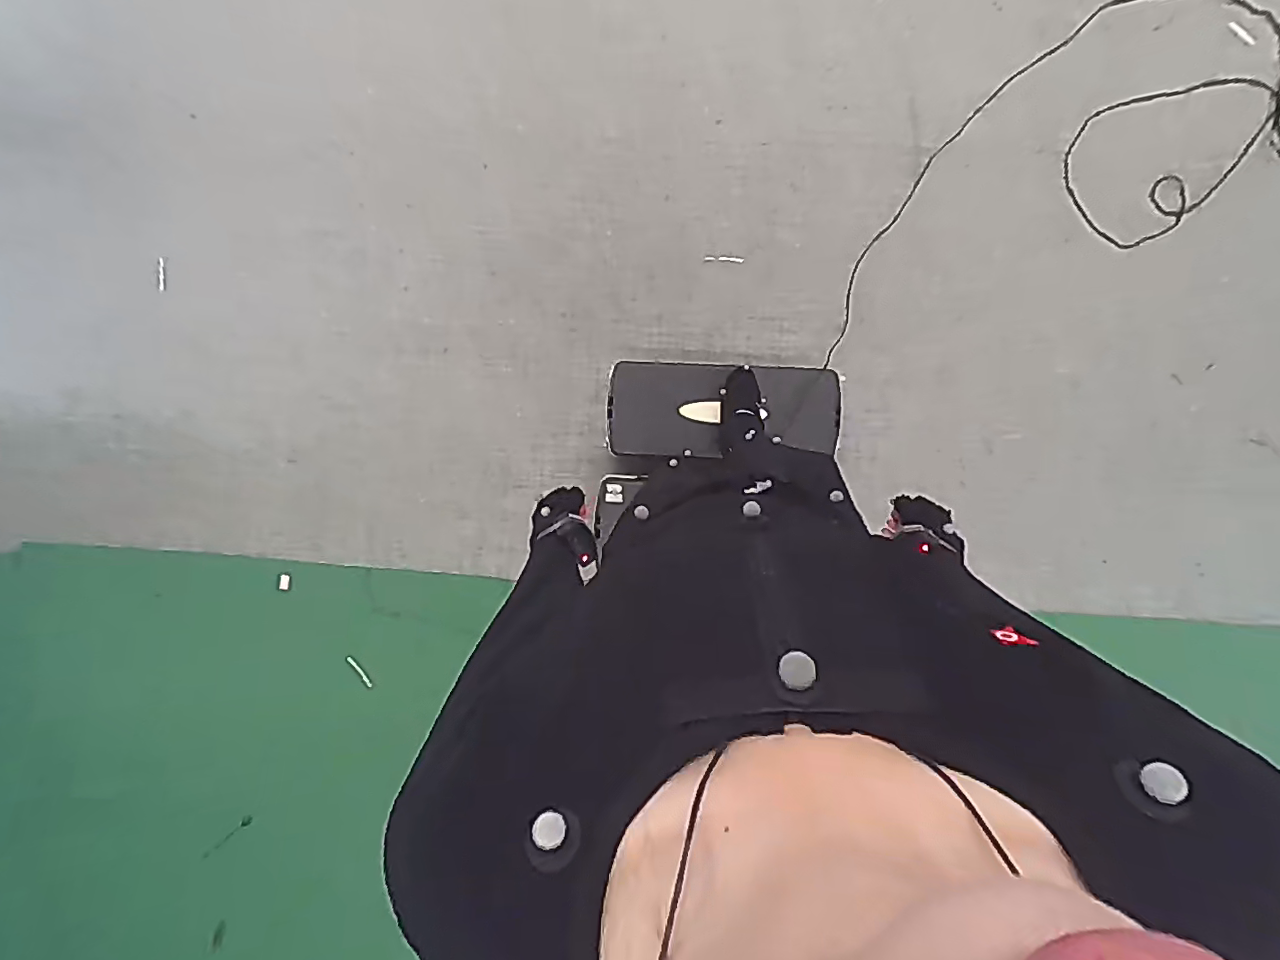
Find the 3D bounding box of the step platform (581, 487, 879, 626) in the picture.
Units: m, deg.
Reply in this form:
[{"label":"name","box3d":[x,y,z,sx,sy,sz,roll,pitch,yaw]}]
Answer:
[{"label":"step platform","box3d":[0.207,0.175,1.332,0.684,0.204,0.286,3,92,2]}]
